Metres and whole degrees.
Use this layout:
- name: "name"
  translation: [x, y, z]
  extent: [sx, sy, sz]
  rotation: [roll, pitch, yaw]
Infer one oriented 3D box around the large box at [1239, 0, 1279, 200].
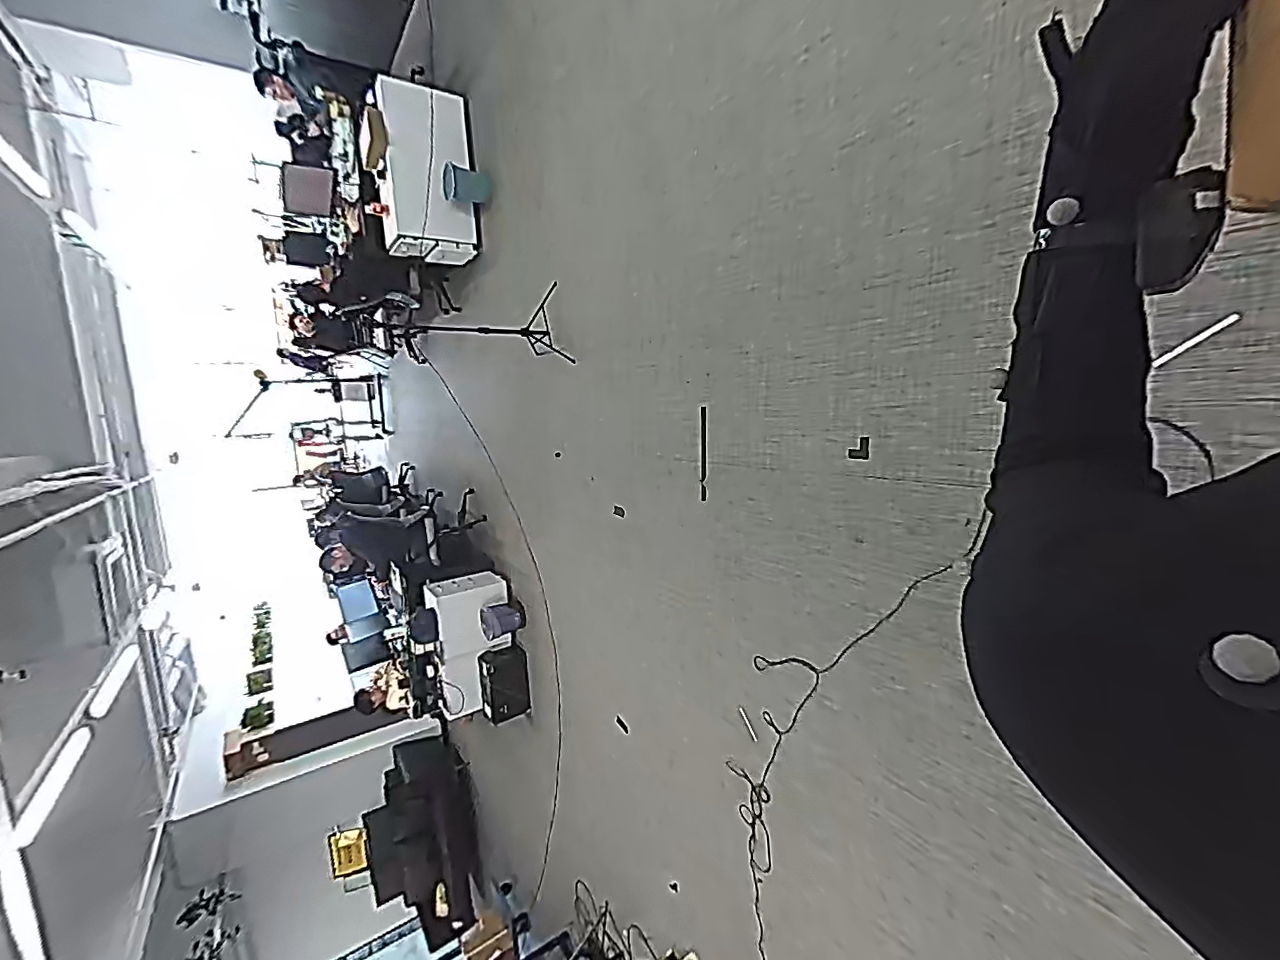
- name: "large box"
  translation: [0.533, -0.332, 0.193]
  extent: [0.408, 0.320, 0.320]
  rotation: [5, 110, 54]
